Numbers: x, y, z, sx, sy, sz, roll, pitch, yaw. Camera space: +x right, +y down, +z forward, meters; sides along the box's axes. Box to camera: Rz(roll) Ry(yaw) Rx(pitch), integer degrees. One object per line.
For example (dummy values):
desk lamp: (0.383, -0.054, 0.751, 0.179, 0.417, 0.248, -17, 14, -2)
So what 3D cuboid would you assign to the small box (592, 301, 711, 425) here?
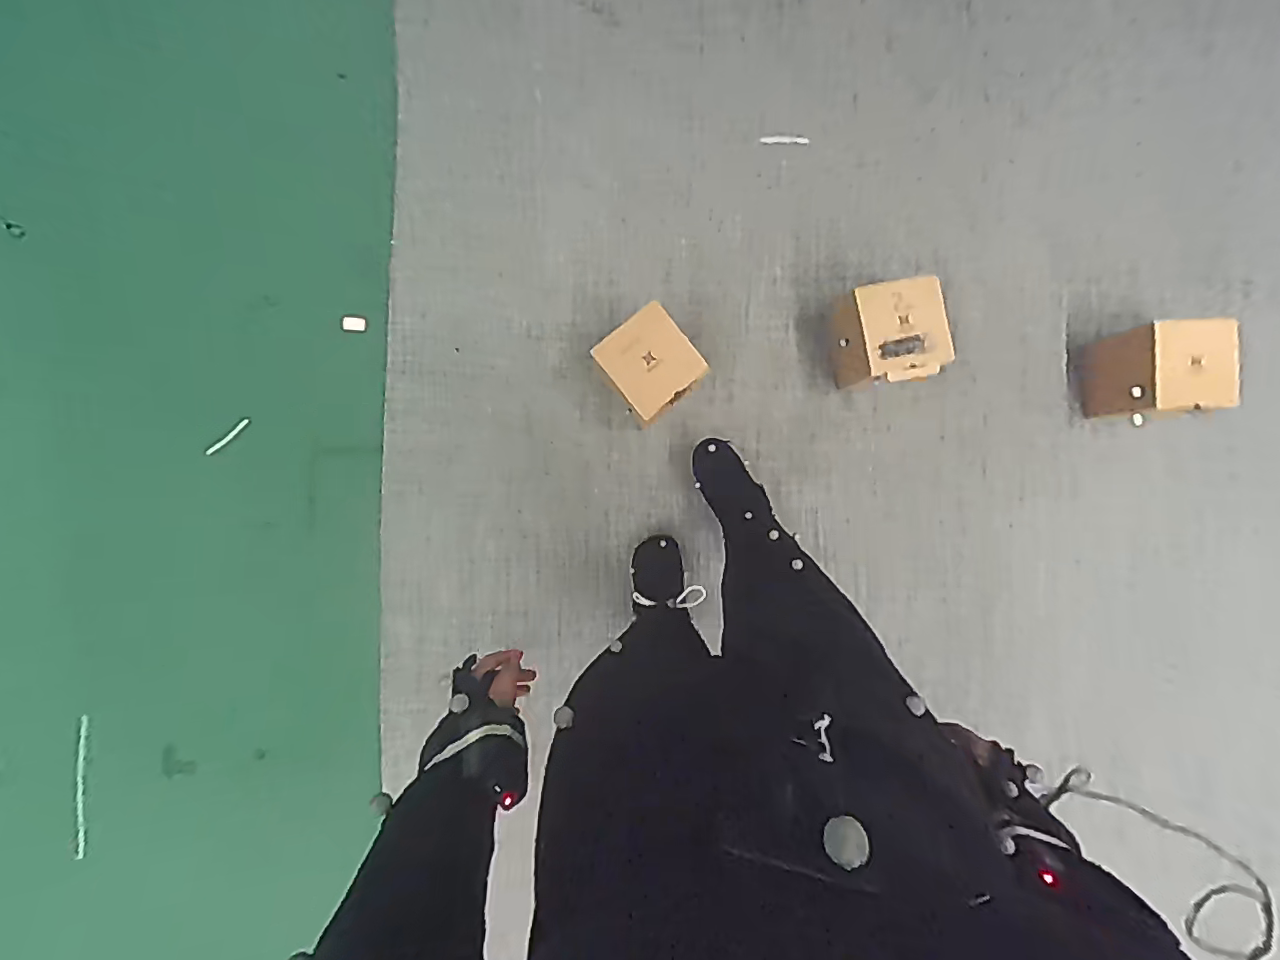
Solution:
small box: (0.022, -0.227, 1.113, 0.168, 0.176, 0.179, -39, 89, -2)

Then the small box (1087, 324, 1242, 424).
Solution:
small box: (1.075, -0.212, 1.122, 0.168, 0.176, 0.179, -1, 90, -1)
